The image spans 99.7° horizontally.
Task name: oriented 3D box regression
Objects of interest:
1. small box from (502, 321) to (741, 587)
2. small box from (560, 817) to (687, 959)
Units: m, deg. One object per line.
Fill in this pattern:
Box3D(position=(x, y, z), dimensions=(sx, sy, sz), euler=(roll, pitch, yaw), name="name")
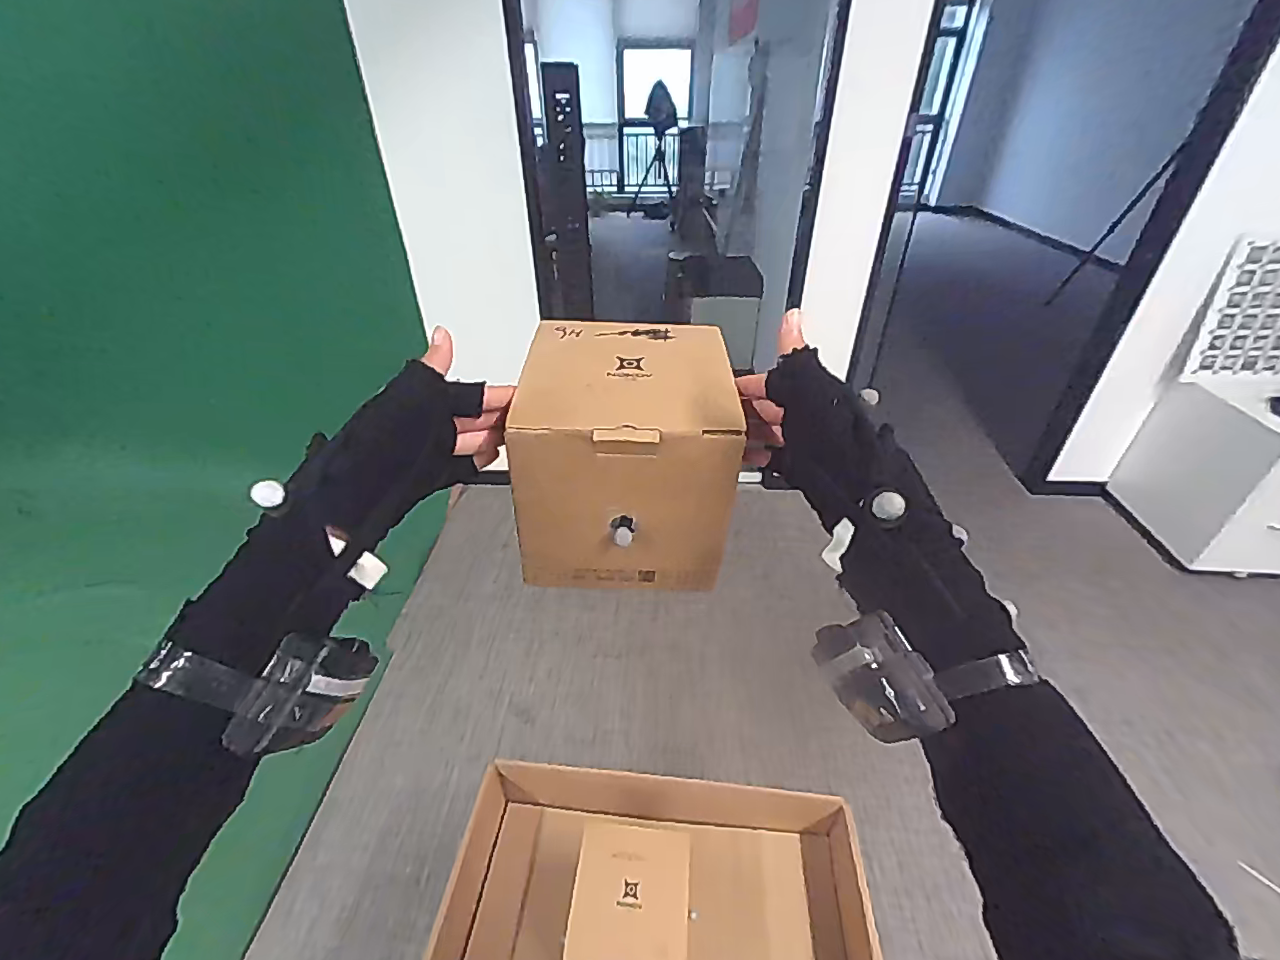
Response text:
Box3D(position=(-0.013, -0.023, 0.476), dimensions=(0.168, 0.176, 0.179), euler=(3, 40, -1), name="small box")
Box3D(position=(-0.019, 0.649, 0.817), dimensions=(0.168, 0.176, 0.179), euler=(5, 34, 3), name="small box")
